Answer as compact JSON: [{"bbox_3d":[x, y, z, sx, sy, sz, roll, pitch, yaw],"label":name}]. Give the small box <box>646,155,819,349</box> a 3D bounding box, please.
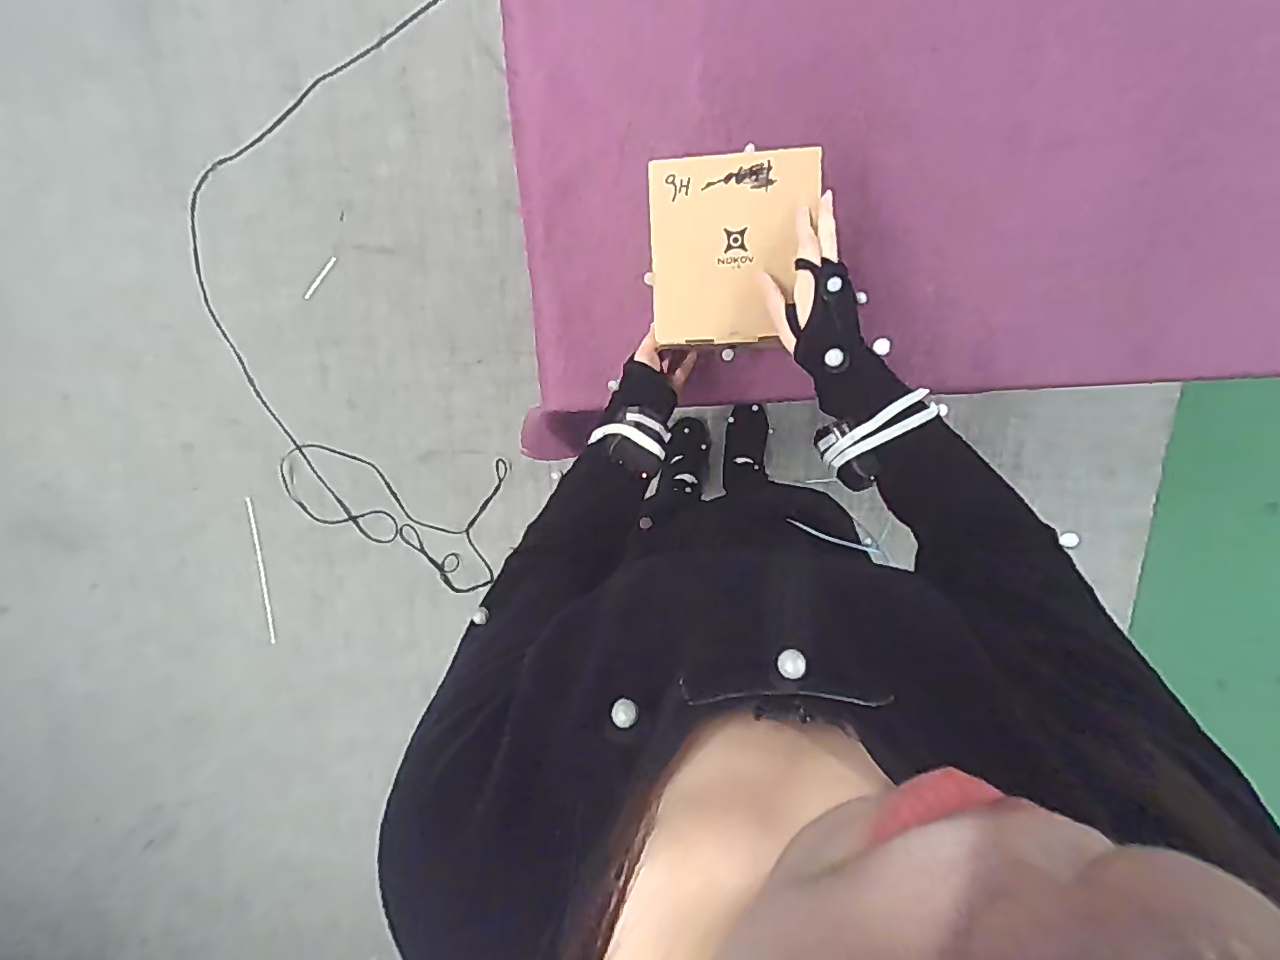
[{"bbox_3d":[0.096,-0.240,0.611,0.168,0.176,0.179,0,103,5],"label":"small box"}]
